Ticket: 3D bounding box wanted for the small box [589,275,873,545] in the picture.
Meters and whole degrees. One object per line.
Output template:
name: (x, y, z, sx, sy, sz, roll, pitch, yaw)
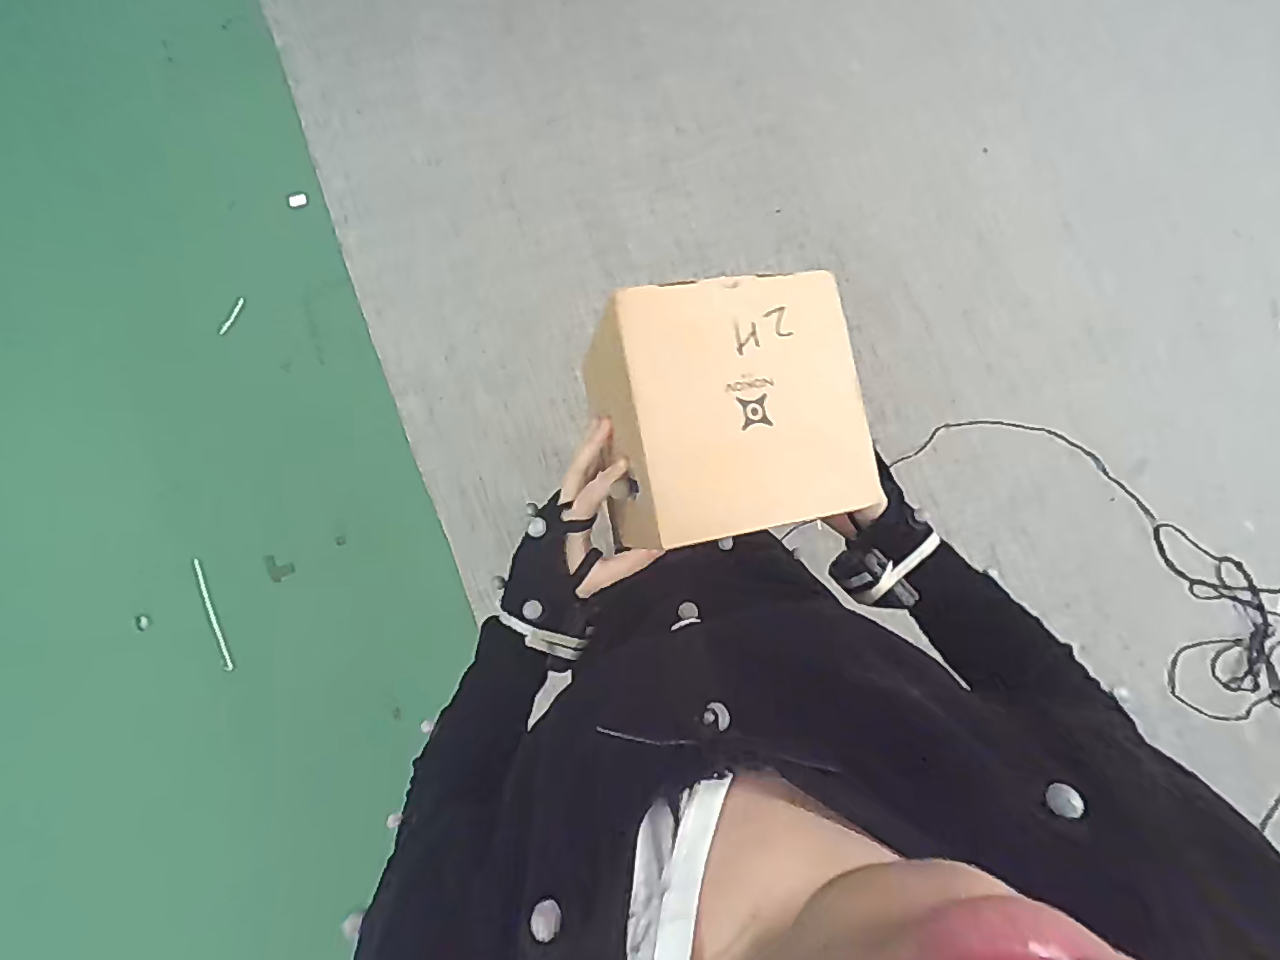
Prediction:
small box: (0.058, -0.046, 0.449, 0.168, 0.176, 0.179, -8, 86, -14)
